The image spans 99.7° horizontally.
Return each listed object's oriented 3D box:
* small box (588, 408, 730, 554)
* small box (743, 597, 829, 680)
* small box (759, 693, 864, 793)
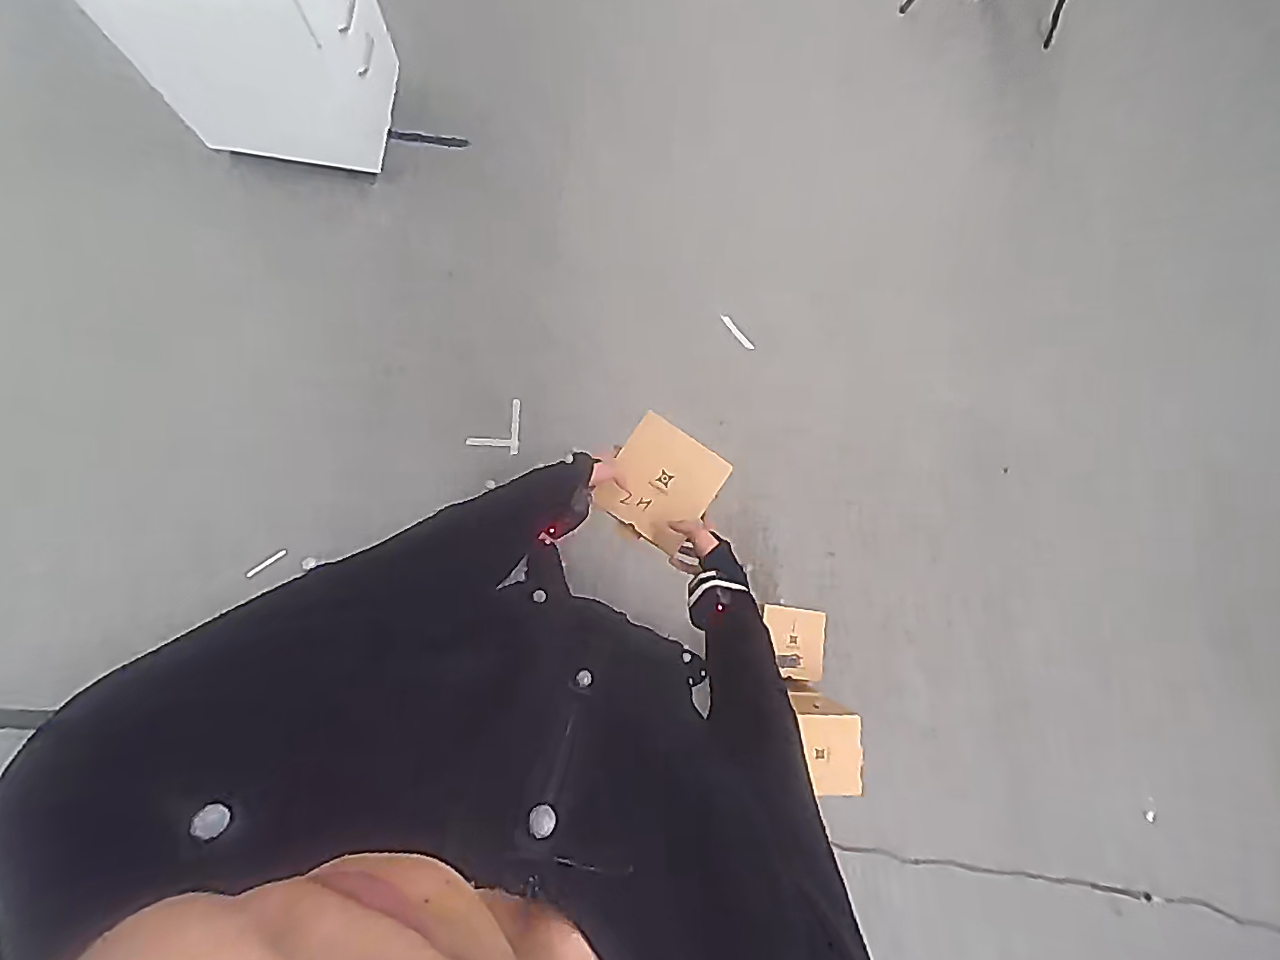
[{"bbox_3d":[0.027,0.003,0.926,0.168,0.176,0.179,34,88,0],"label":"small box"},{"bbox_3d":[0.379,0.412,1.427,0.168,0.176,0.179,10,80,-5],"label":"small box"},{"bbox_3d":[0.388,0.594,1.238,0.179,0.176,0.168,4,82,-7],"label":"small box"}]
